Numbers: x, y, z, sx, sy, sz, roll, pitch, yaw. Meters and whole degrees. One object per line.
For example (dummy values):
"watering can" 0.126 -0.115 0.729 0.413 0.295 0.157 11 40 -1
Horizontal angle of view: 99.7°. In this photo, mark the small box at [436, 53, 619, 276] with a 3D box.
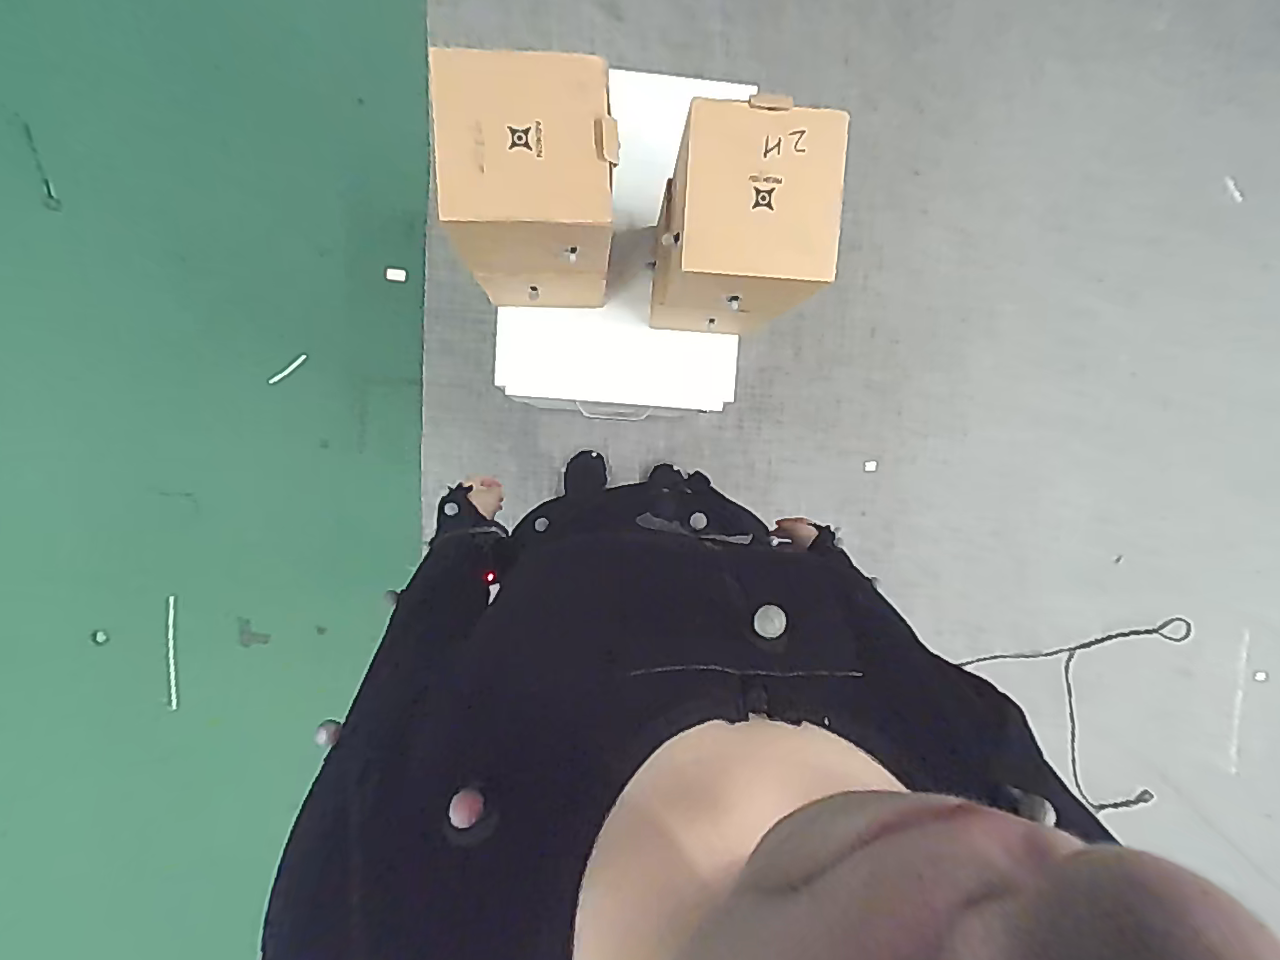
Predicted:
"small box" -0.120 -0.343 0.620 0.179 0.176 0.168 -3 94 -5

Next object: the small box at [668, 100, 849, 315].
"small box" 0.125 -0.303 0.641 0.168 0.176 0.179 3 94 -4

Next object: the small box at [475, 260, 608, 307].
"small box" -0.135 -0.353 0.783 0.179 0.176 0.168 -1 95 -6
